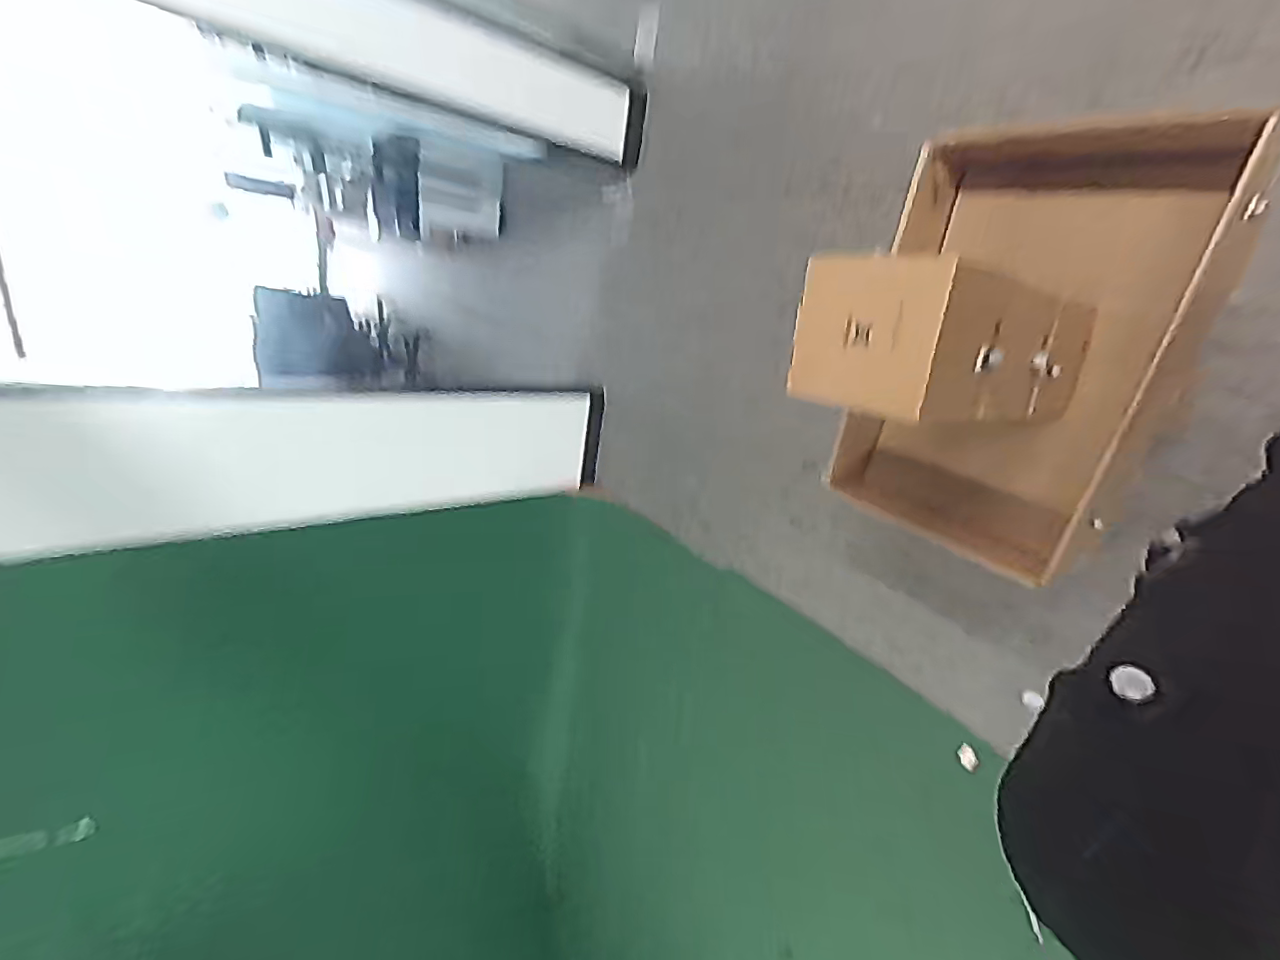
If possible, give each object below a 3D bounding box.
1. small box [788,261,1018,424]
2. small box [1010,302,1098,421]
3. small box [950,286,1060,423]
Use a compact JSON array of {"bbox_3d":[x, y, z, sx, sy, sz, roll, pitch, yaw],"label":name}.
[{"bbox_3d":[0.314,-0.168,0.658,0.179,0.176,0.168,25,116,48],"label":"small box"},{"bbox_3d":[0.573,-0.190,0.854,0.179,0.176,0.168,24,115,50],"label":"small box"},{"bbox_3d":[0.441,-0.178,0.757,0.179,0.176,0.168,24,115,48],"label":"small box"}]
